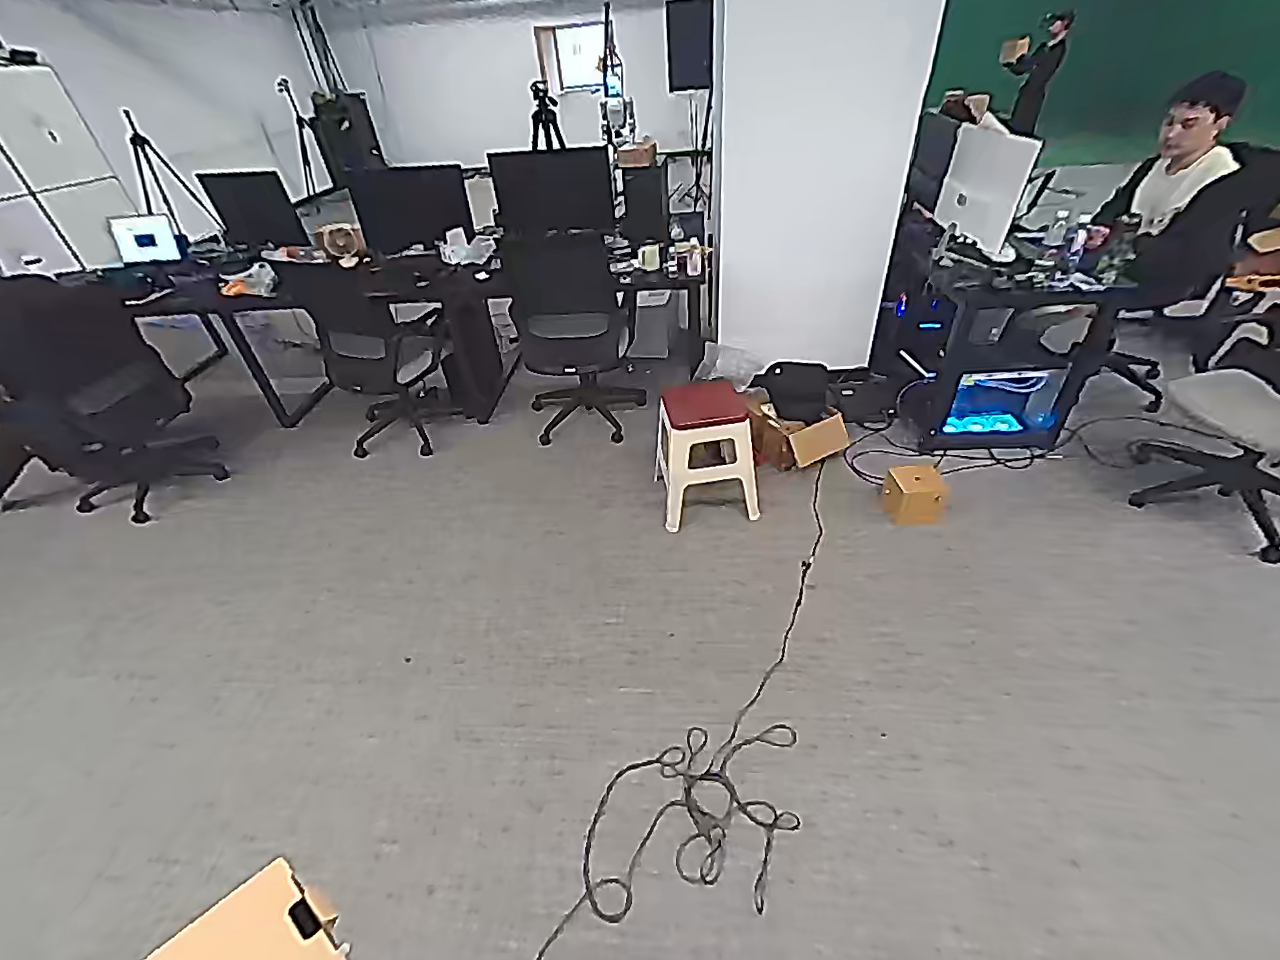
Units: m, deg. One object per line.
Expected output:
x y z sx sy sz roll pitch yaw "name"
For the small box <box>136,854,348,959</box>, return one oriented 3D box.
-0.400 0.548 0.544 0.168 0.176 0.179 24 33 31 "small box"
